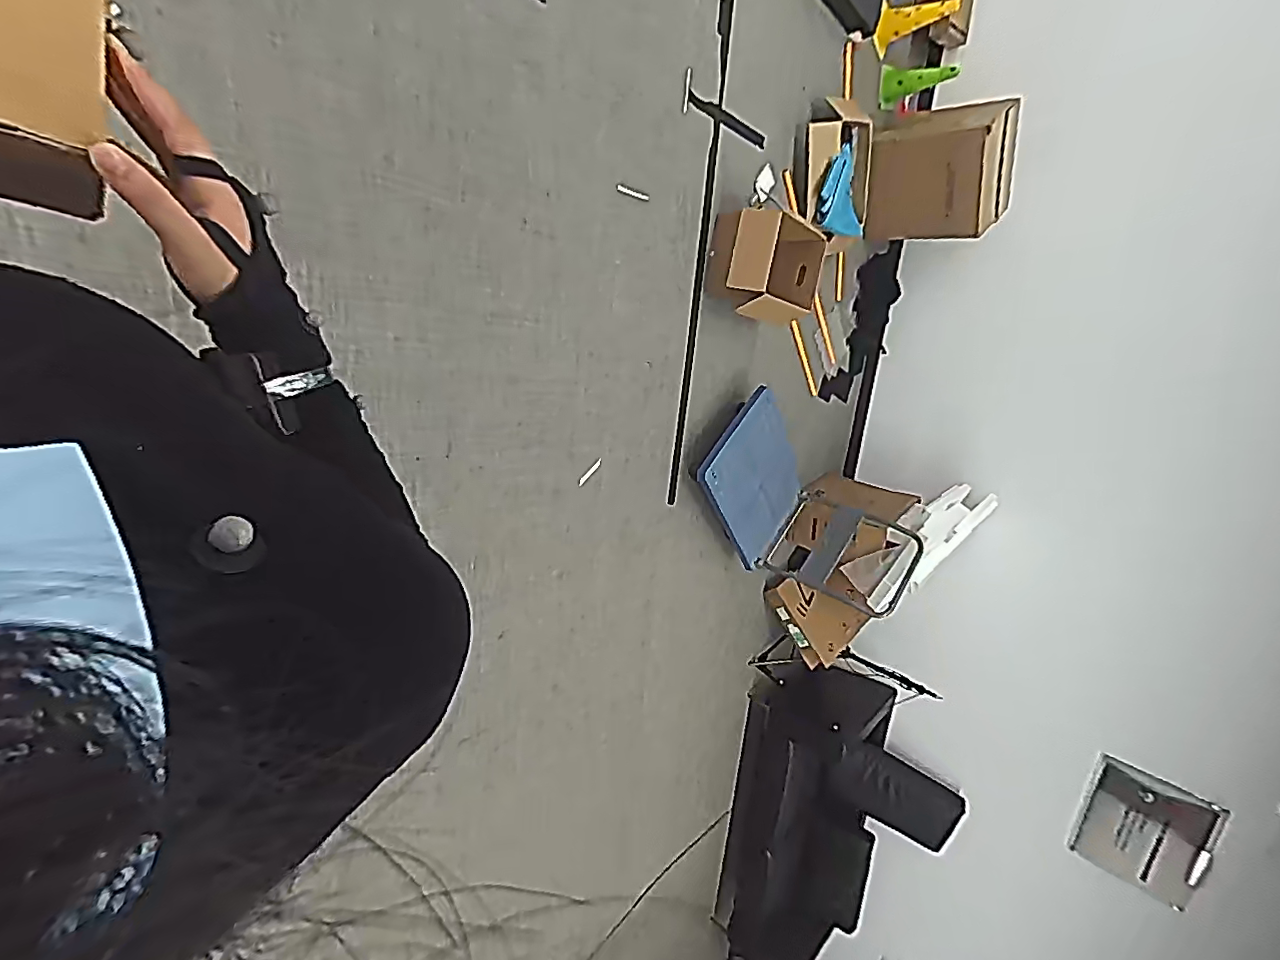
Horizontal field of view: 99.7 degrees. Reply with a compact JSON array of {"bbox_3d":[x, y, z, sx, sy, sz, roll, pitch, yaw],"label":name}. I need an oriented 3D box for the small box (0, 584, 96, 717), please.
[{"bbox_3d":[-1.169,0.313,1.022,0.168,0.176,0.179,-15,116,-44],"label":"small box"}]
